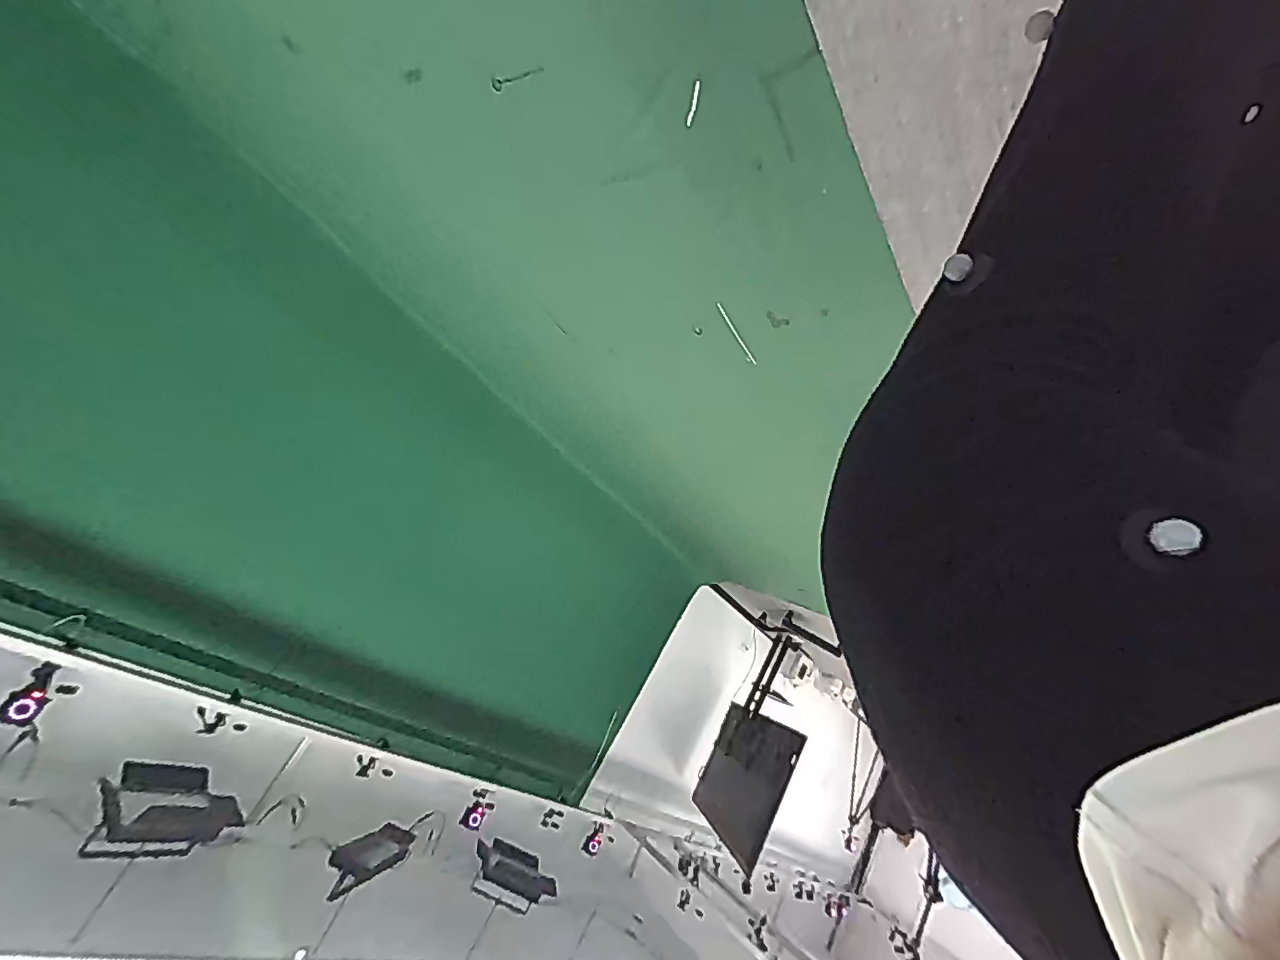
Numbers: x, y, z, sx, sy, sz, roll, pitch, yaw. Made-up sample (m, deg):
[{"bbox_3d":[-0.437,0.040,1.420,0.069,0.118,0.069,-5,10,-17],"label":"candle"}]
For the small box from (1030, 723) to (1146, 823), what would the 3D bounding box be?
[{"bbox_3d":[1.246,0.803,1.505,0.168,0.176,0.179,32,162,-5],"label":"small box"}]
